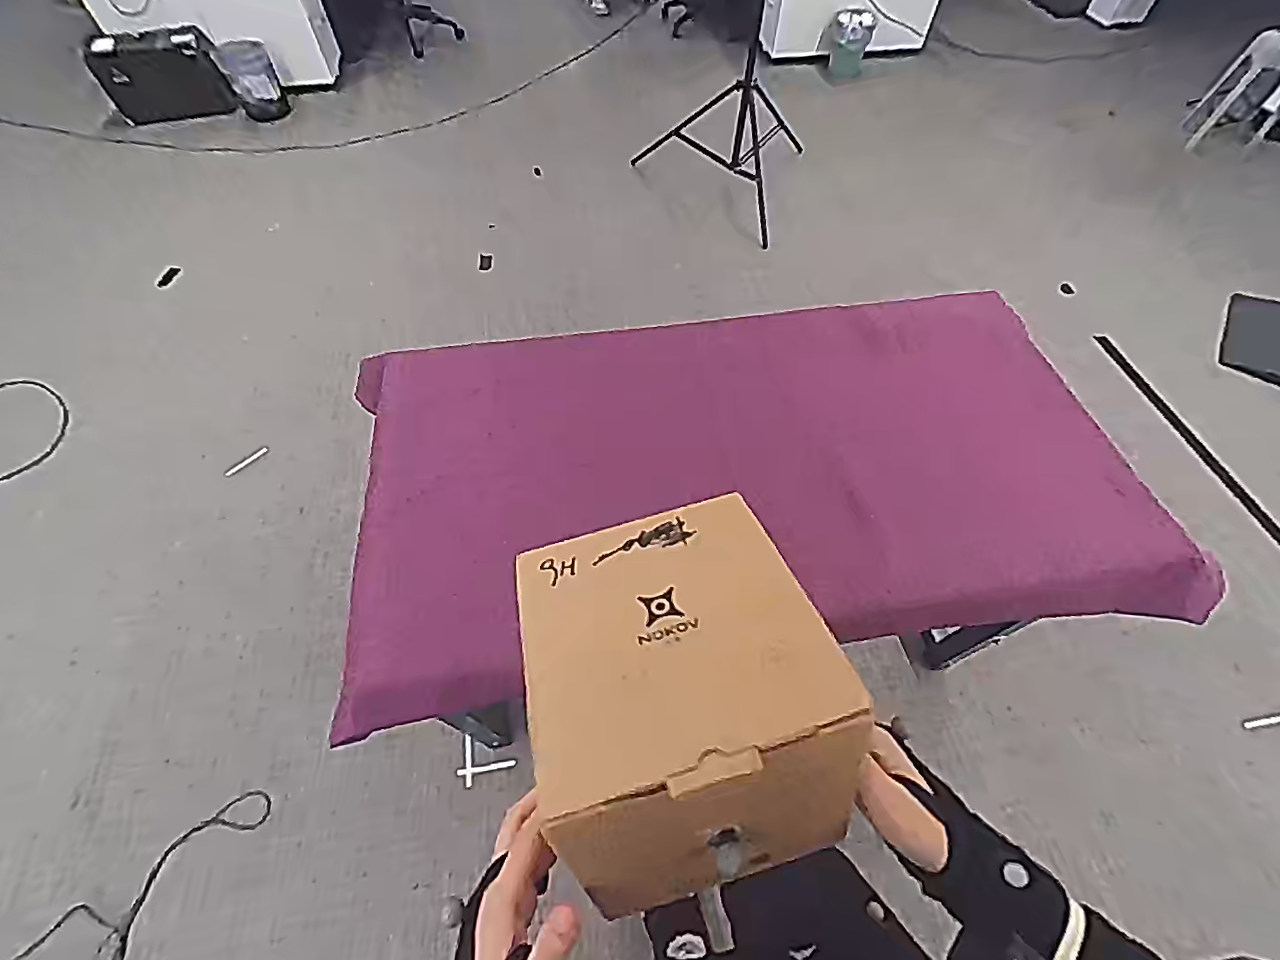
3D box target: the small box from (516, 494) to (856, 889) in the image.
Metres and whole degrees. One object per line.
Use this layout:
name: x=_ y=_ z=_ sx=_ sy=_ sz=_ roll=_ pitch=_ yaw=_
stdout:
small box: x=0.022 y=0.143 z=0.367 sx=0.168 sy=0.176 sz=0.179 roll=-15 pitch=39 yaw=-5
